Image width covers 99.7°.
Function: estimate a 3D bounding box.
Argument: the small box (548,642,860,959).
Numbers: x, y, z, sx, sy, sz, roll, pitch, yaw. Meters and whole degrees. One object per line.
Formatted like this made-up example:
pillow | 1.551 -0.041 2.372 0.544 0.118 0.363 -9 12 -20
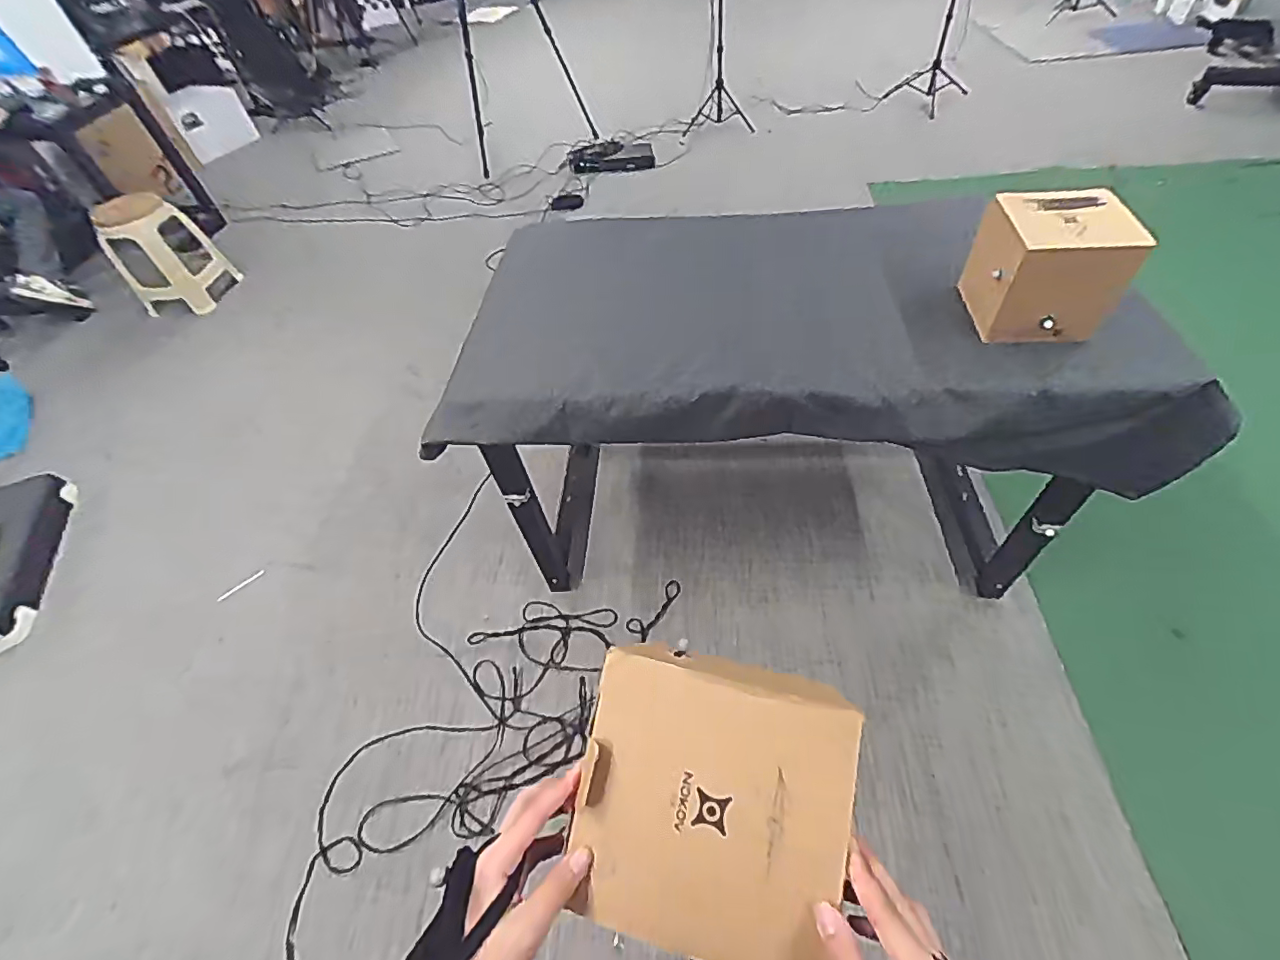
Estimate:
small box | 0.055 0.228 0.418 0.179 0.176 0.168 9 77 13
